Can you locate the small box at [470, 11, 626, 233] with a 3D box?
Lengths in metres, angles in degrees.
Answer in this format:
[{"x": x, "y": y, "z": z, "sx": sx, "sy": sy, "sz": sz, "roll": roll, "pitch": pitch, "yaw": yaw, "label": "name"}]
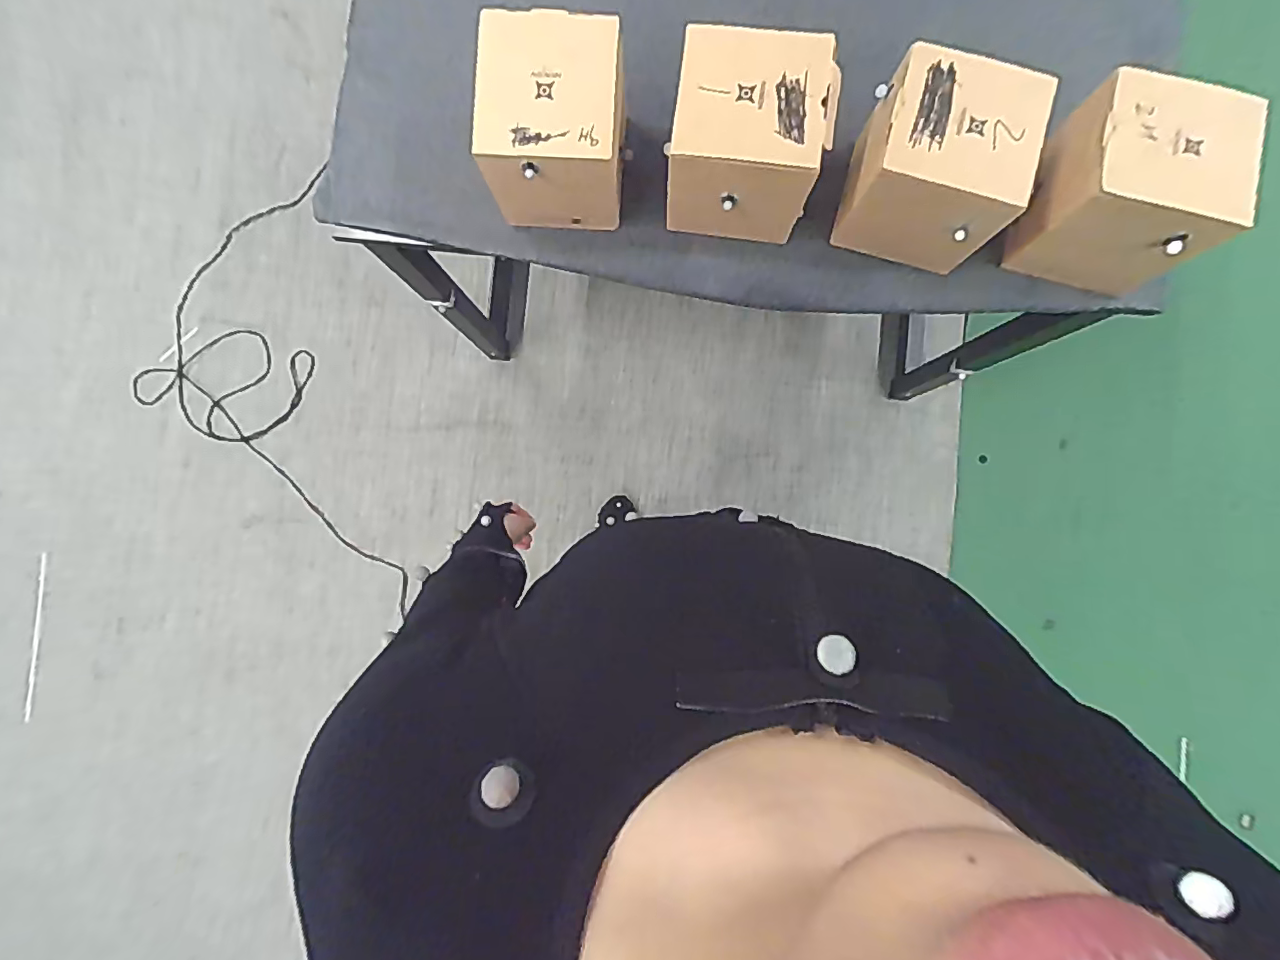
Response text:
[{"x": -0.108, "y": -0.455, "z": 0.709, "sx": 0.168, "sy": 0.176, "sz": 0.179, "roll": 4, "pitch": 87, "yaw": 2, "label": "small box"}]
